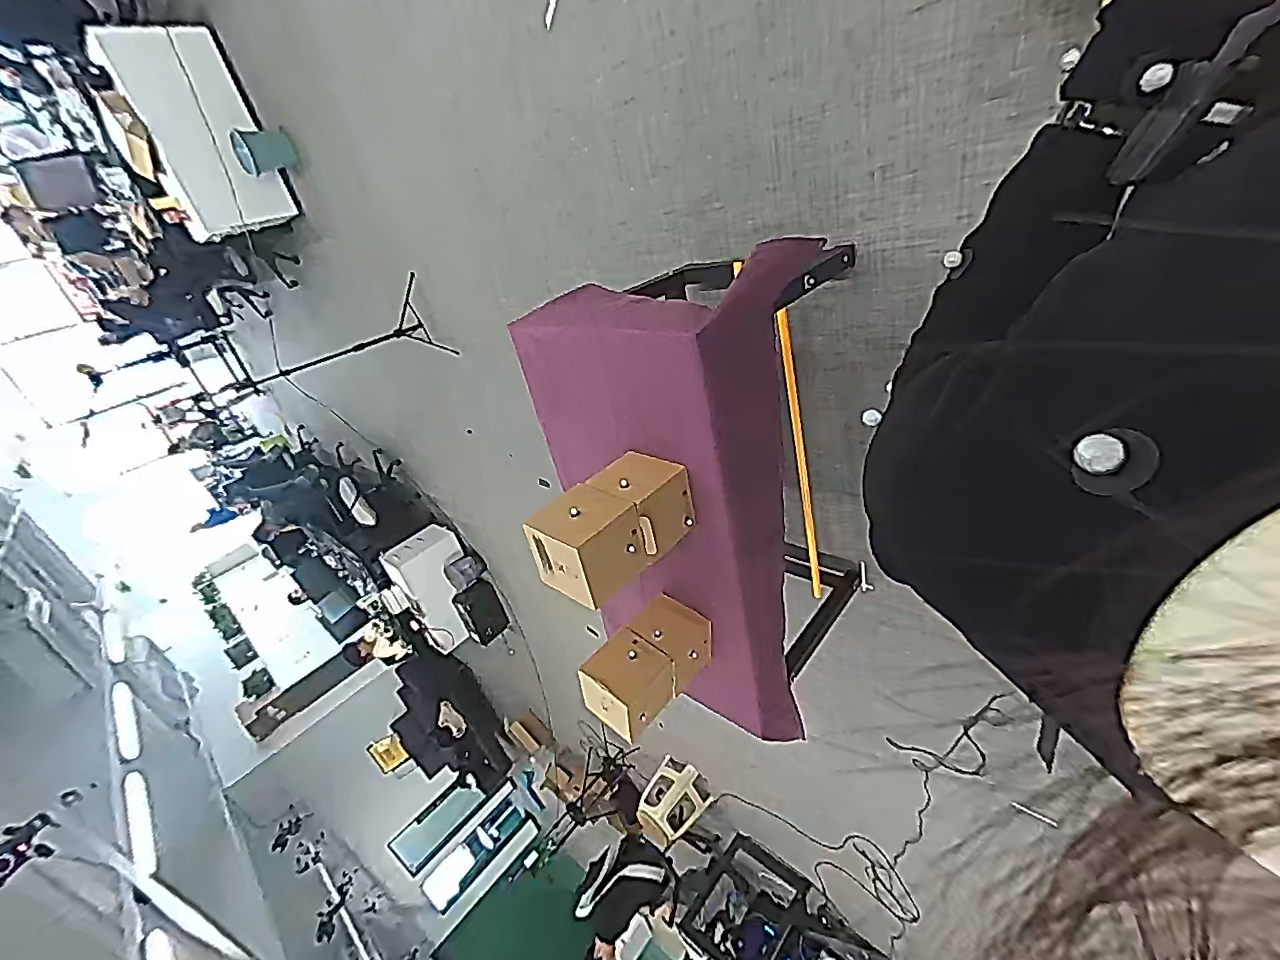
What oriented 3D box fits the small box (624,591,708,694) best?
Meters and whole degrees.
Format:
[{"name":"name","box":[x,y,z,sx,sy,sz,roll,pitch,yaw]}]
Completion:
[{"name":"small box","box":[0.073,0.437,1.480,0.179,0.176,0.168,25,135,34]}]

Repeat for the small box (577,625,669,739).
[{"name":"small box","box":[-0.036,0.512,1.383,0.168,0.176,0.179,25,135,33]}]

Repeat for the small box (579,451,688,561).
[{"name":"small box","box":[-0.005,0.051,1.234,0.179,0.176,0.168,18,132,41]}]
